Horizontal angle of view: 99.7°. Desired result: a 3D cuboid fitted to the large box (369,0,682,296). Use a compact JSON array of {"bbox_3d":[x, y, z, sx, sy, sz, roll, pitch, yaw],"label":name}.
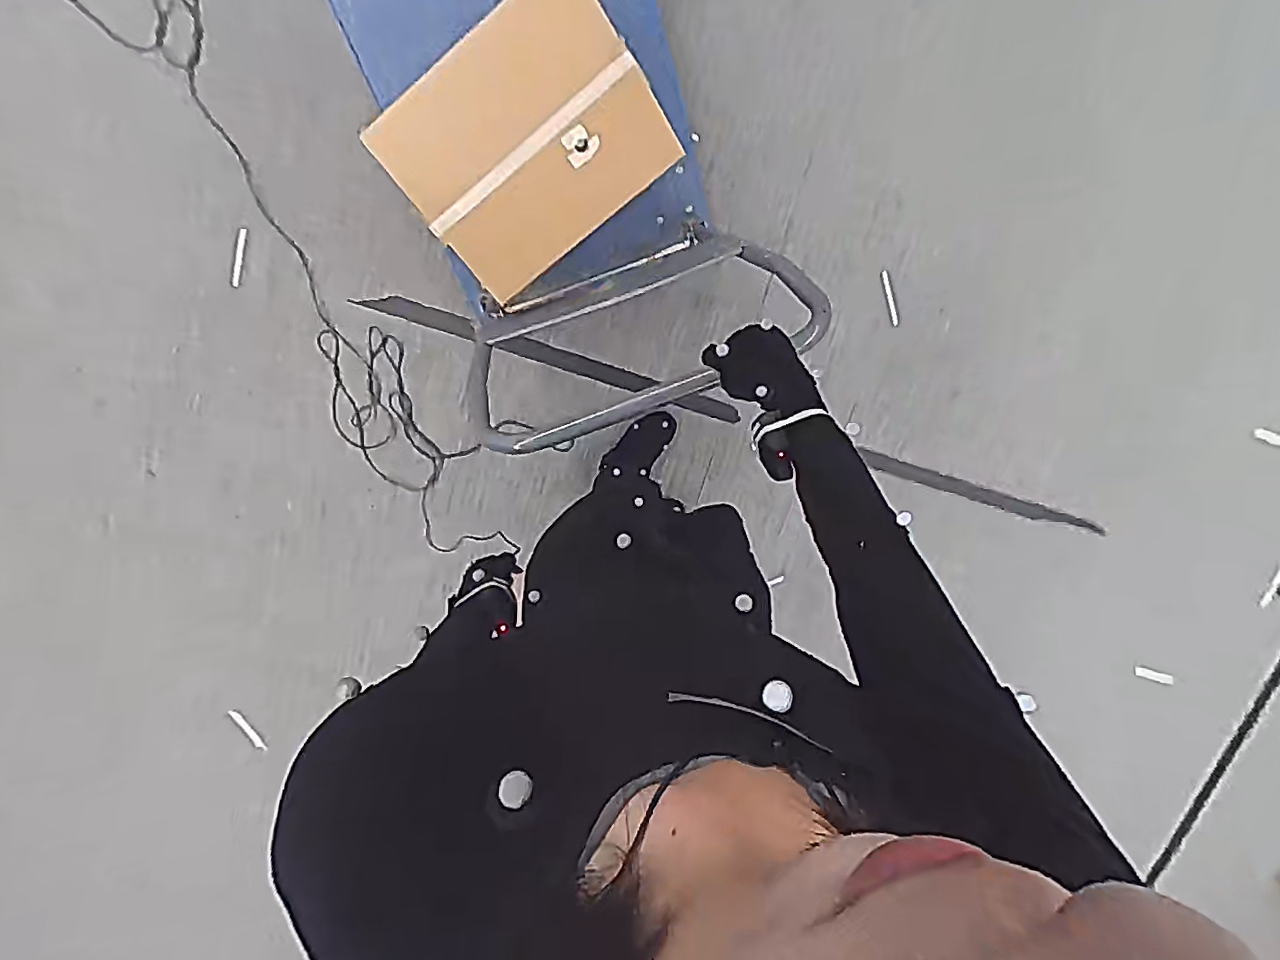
[{"bbox_3d":[-0.197,-0.605,0.986,0.408,0.320,0.320,-37,118,9],"label":"large box"}]
